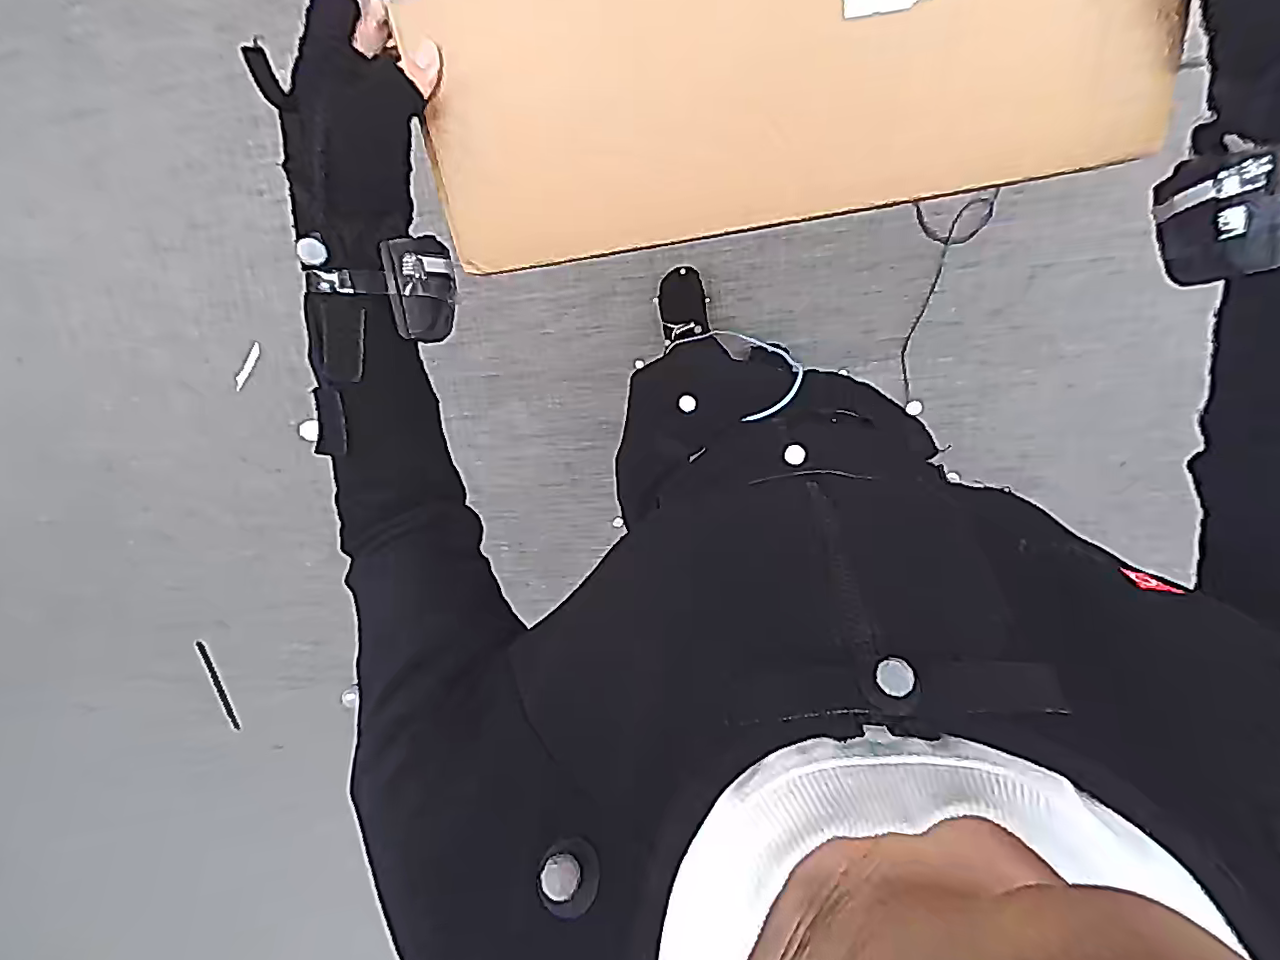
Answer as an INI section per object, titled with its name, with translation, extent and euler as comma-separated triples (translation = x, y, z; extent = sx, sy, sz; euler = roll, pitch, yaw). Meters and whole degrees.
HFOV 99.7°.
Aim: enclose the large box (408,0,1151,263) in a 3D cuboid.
[large box]
translation = 0.070, -0.370, 0.412
extent = 0.408, 0.320, 0.320
euler = -7, 115, 9
